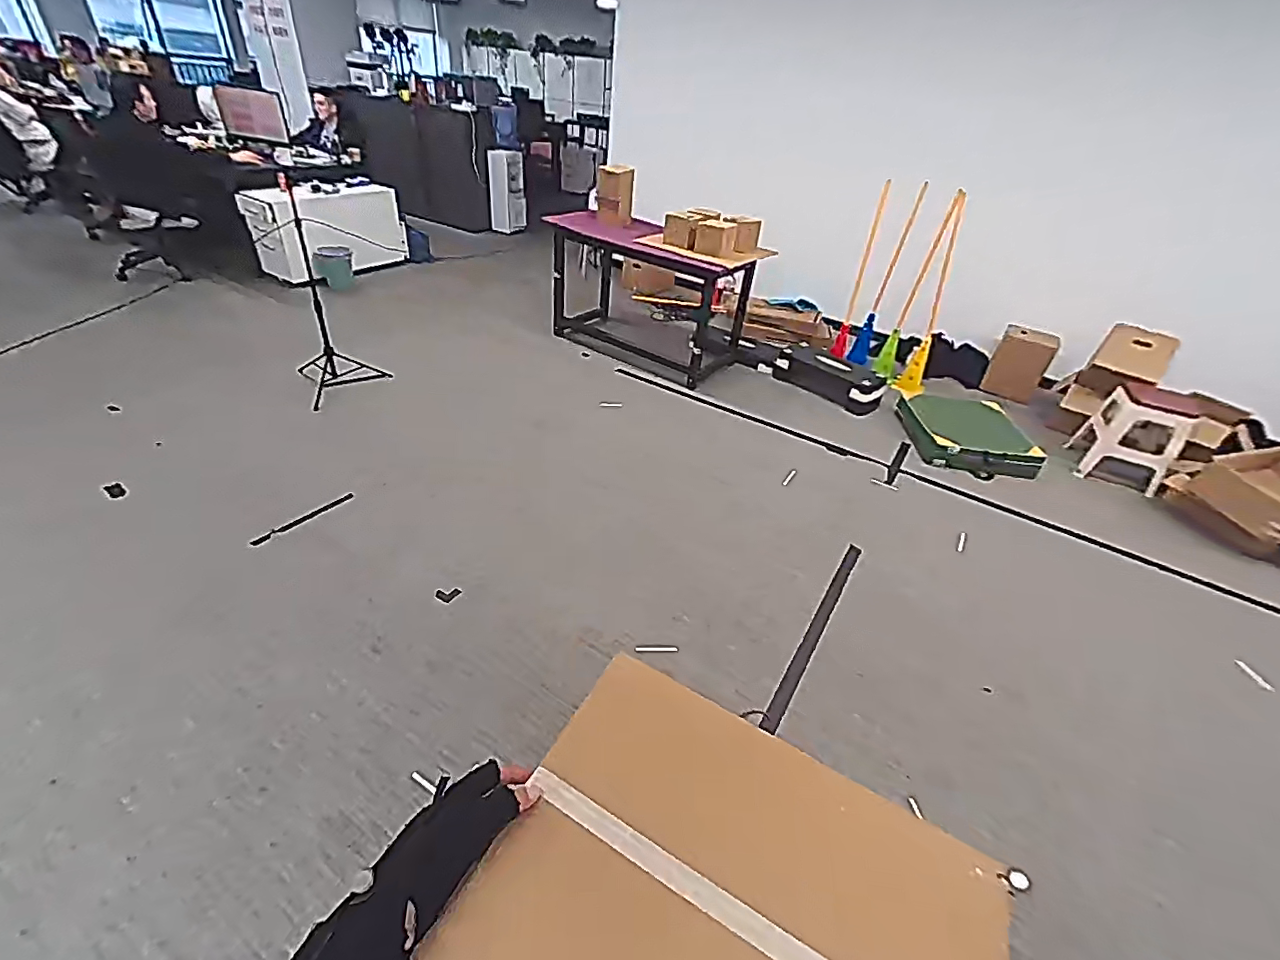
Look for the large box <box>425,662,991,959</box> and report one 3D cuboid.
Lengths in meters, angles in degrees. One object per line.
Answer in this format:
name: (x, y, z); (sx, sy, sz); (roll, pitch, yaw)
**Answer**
large box: (0.063, 0.472, 0.553); (0.408, 0.320, 0.320); (23, 45, 20)
